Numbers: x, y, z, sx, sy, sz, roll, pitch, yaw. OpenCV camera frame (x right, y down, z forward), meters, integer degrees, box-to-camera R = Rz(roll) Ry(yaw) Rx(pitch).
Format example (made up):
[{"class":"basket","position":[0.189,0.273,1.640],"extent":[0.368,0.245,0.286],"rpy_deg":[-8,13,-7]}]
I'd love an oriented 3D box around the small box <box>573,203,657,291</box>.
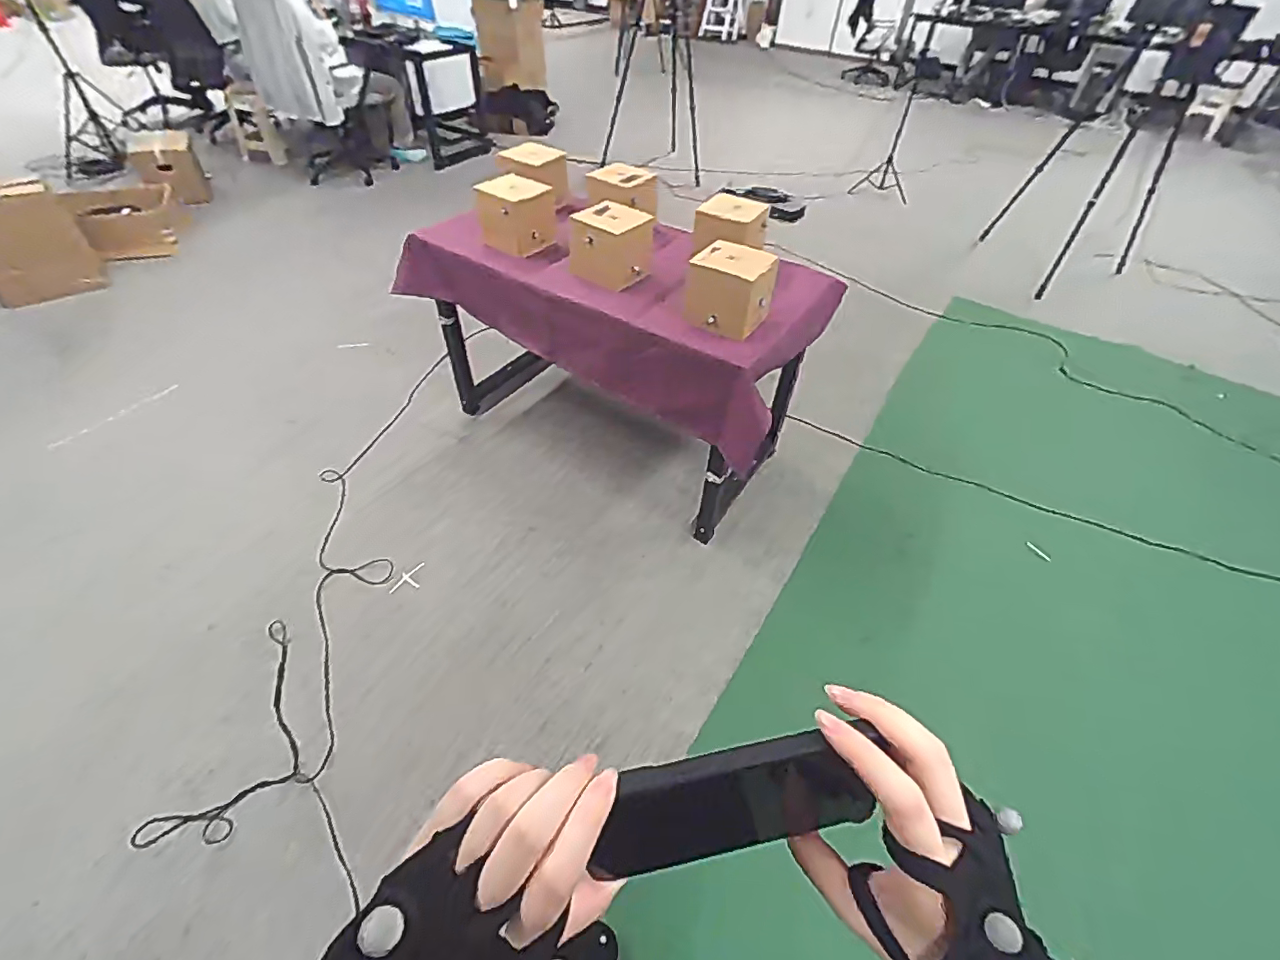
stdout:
[{"class":"small box","position":[-0.072,-0.664,1.547],"extent":[0.179,0.176,0.168],"rpy_deg":[31,52,23]}]

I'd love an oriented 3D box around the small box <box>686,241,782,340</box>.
[{"class":"small box","position":[0.237,-0.483,1.392],"extent":[0.179,0.176,0.168],"rpy_deg":[27,50,21]}]

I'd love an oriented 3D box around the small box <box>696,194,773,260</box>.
[{"class":"small box","position":[0.278,-0.732,1.629],"extent":[0.168,0.176,0.179],"rpy_deg":[25,51,20]}]

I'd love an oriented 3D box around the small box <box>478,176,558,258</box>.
[{"class":"small box","position":[-0.371,-0.809,1.667],"extent":[0.179,0.176,0.168],"rpy_deg":[30,52,21]}]
